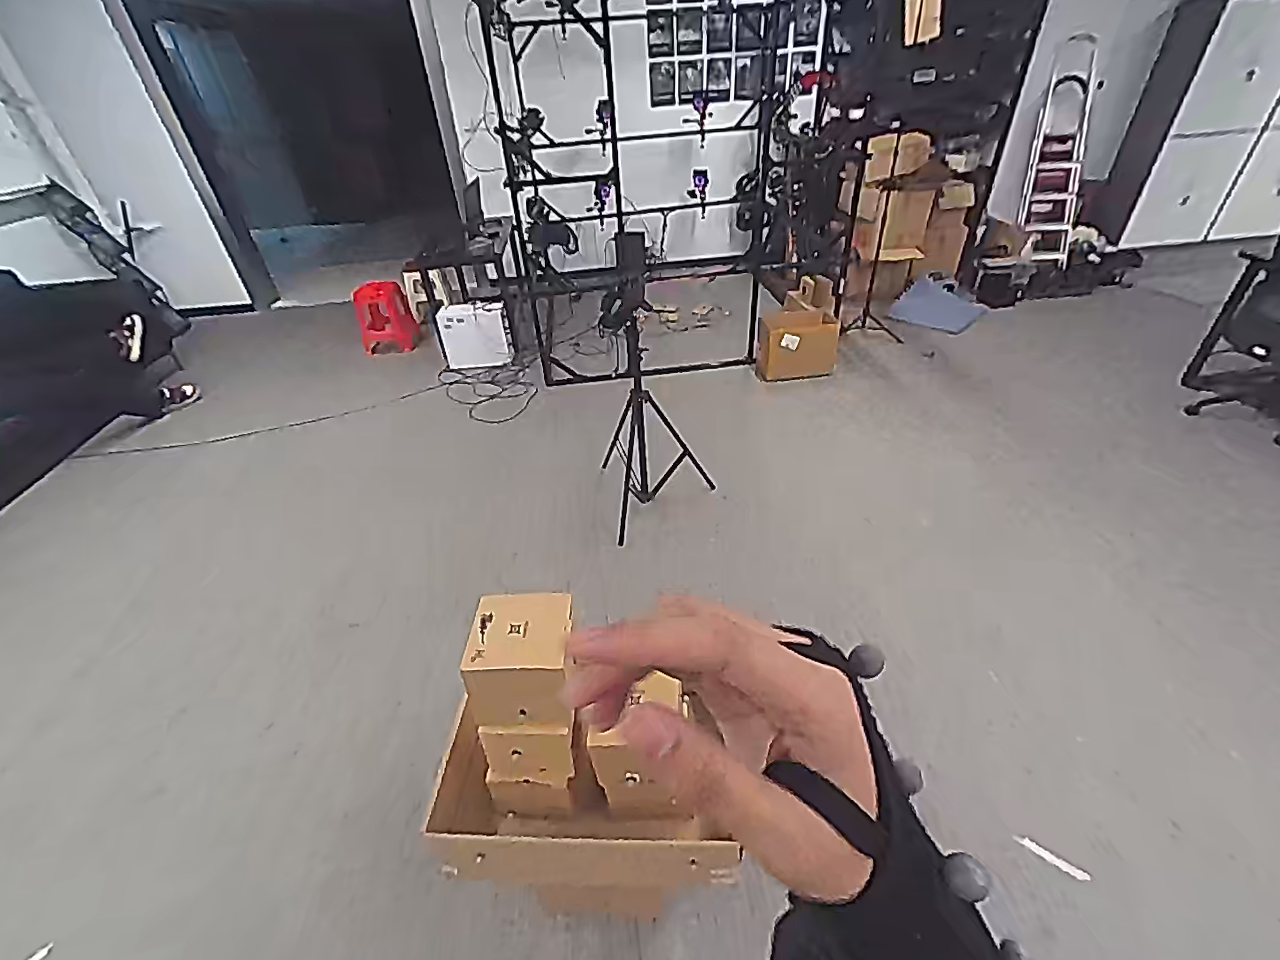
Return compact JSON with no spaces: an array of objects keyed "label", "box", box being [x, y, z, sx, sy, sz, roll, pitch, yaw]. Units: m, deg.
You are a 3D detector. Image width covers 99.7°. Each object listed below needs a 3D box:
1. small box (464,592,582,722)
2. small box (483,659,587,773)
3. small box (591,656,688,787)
[{"label":"small box","box":[-0.203,0.327,0.999,0.179,0.176,0.168,0,35,1]},{"label":"small box","box":[-0.200,0.465,1.087,0.168,0.176,0.179,0,36,2]},{"label":"small box","box":[0.006,0.467,1.056,0.168,0.176,0.179,-3,36,6]}]
